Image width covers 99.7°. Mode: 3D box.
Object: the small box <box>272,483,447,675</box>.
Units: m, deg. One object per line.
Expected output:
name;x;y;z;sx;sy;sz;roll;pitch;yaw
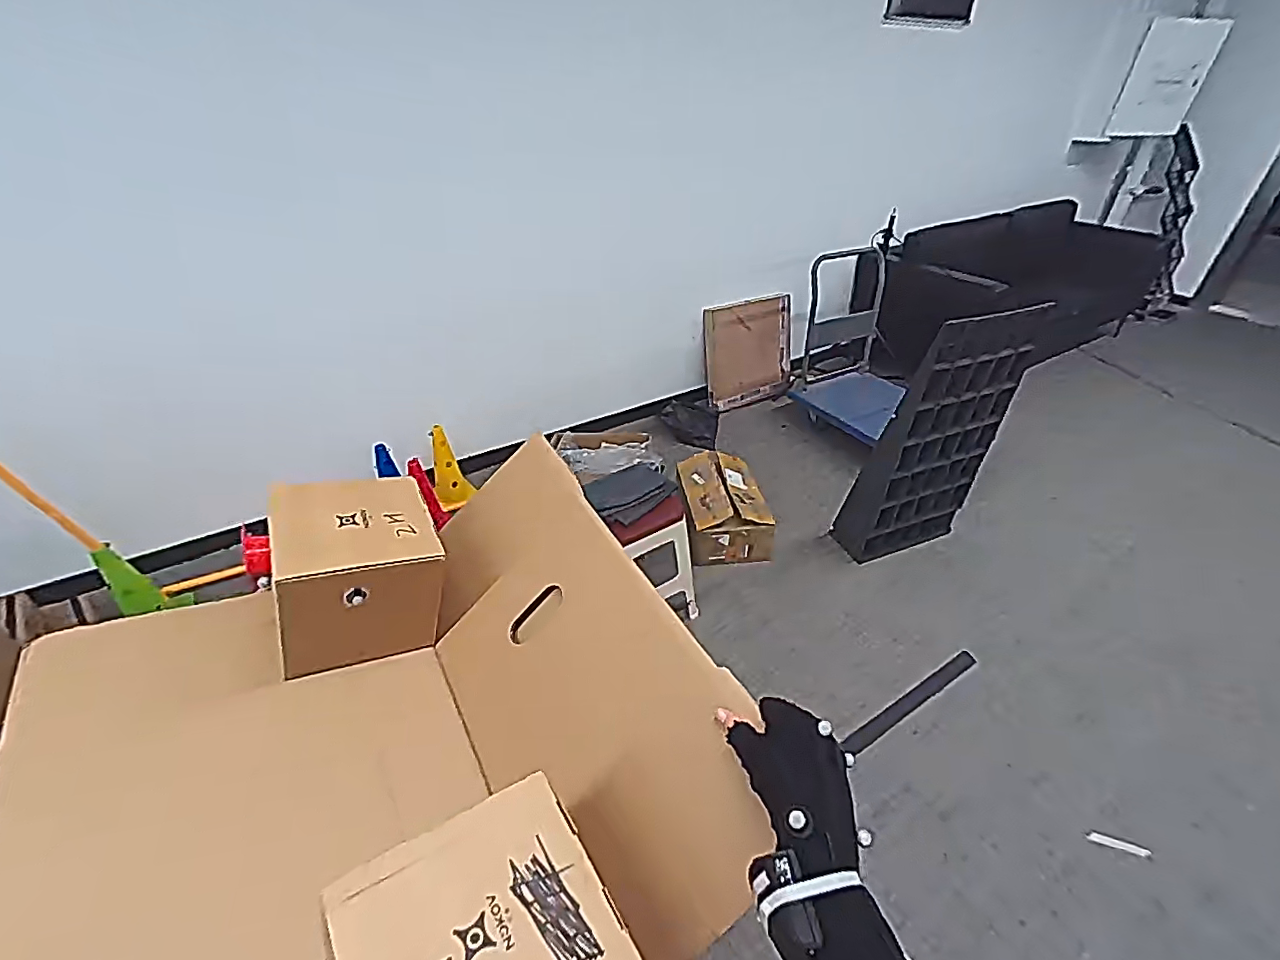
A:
small box;-0.363;0.123;0.699;0.179;0.176;0.168;-4;38;-34

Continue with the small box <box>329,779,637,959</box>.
small box;-0.129;0.384;0.422;0.179;0.176;0.168;-10;43;-37
